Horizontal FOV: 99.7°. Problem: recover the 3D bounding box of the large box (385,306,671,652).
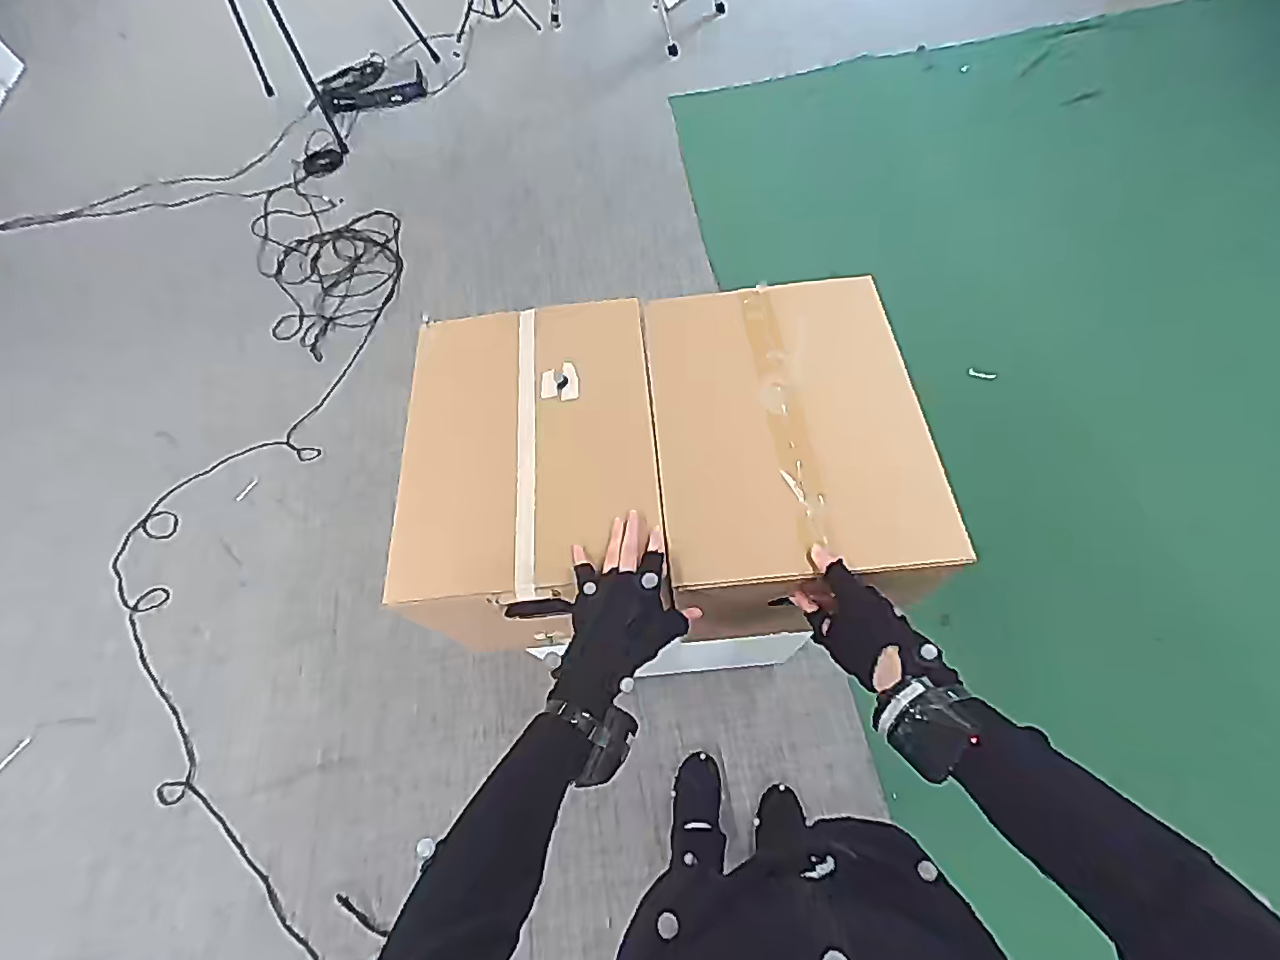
[{"bbox_3d":[-0.132,0.013,0.809,0.320,0.320,0.408,-6,61,2],"label":"large box"}]
